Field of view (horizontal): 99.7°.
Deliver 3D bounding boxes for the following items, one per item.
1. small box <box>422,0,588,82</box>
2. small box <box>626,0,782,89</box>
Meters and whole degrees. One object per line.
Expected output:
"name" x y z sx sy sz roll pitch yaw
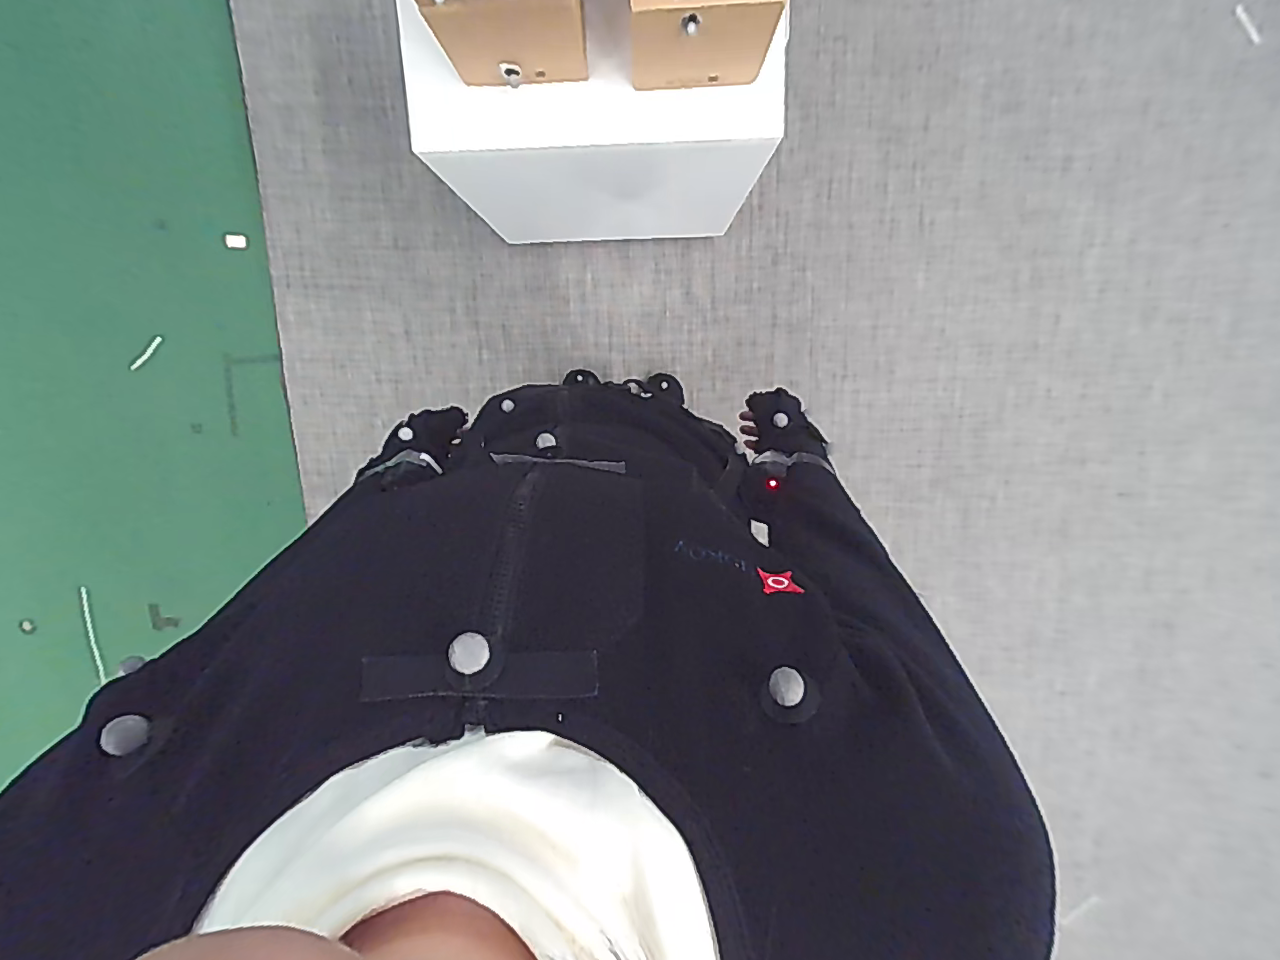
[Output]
"small box" -0.154 -0.598 0.616 0.168 0.176 0.179 -4 102 2
"small box" 0.066 -0.596 0.629 0.168 0.176 0.179 -2 100 1
